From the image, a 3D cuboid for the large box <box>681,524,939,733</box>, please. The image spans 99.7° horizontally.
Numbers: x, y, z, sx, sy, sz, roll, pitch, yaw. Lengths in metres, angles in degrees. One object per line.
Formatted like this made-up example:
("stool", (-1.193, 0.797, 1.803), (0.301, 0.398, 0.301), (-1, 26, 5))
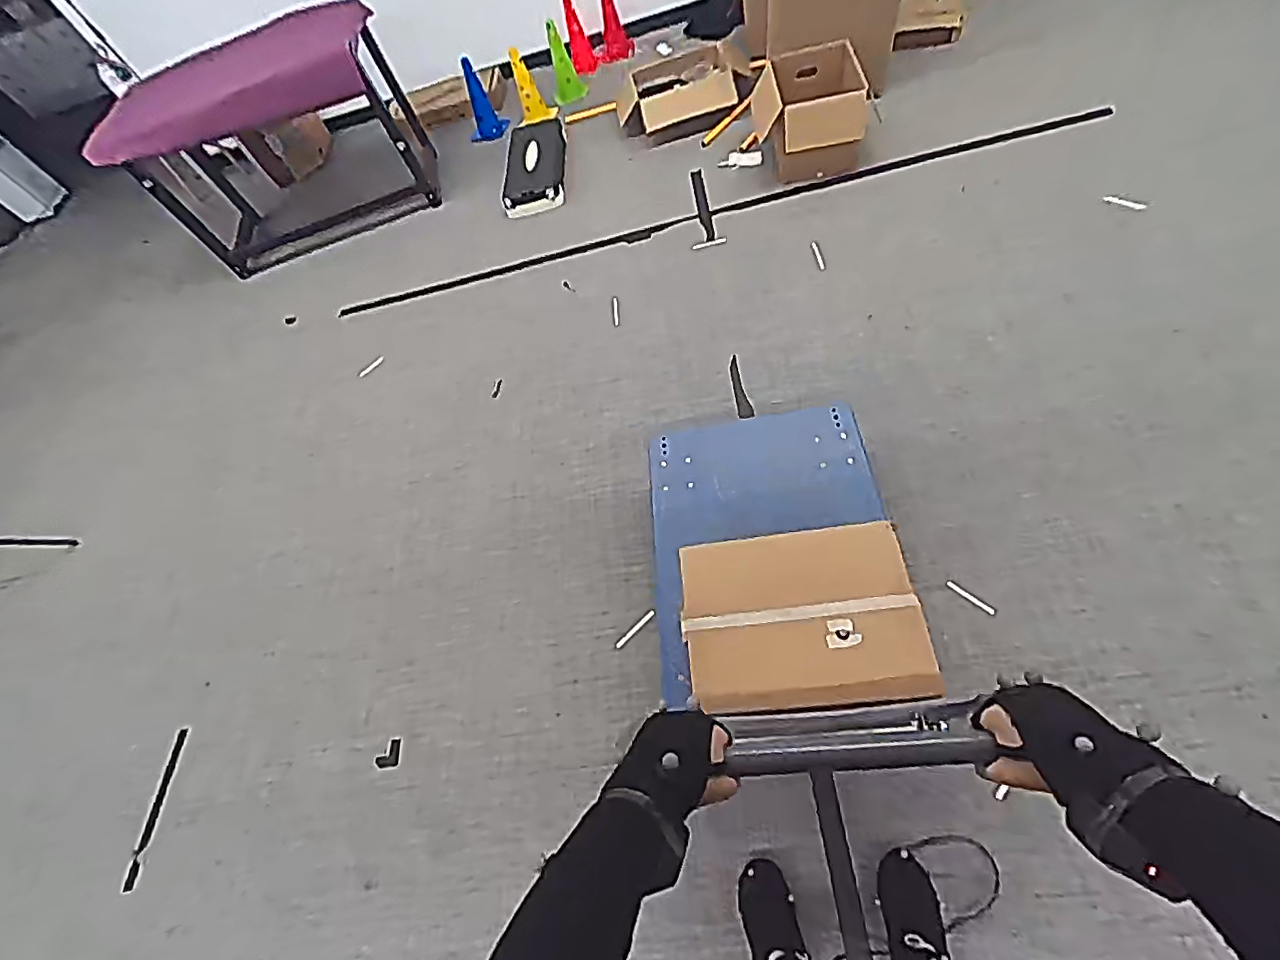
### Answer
("large box", (0.313, 0.319, 1.106), (0.408, 0.320, 0.320), (-9, 59, 8))
